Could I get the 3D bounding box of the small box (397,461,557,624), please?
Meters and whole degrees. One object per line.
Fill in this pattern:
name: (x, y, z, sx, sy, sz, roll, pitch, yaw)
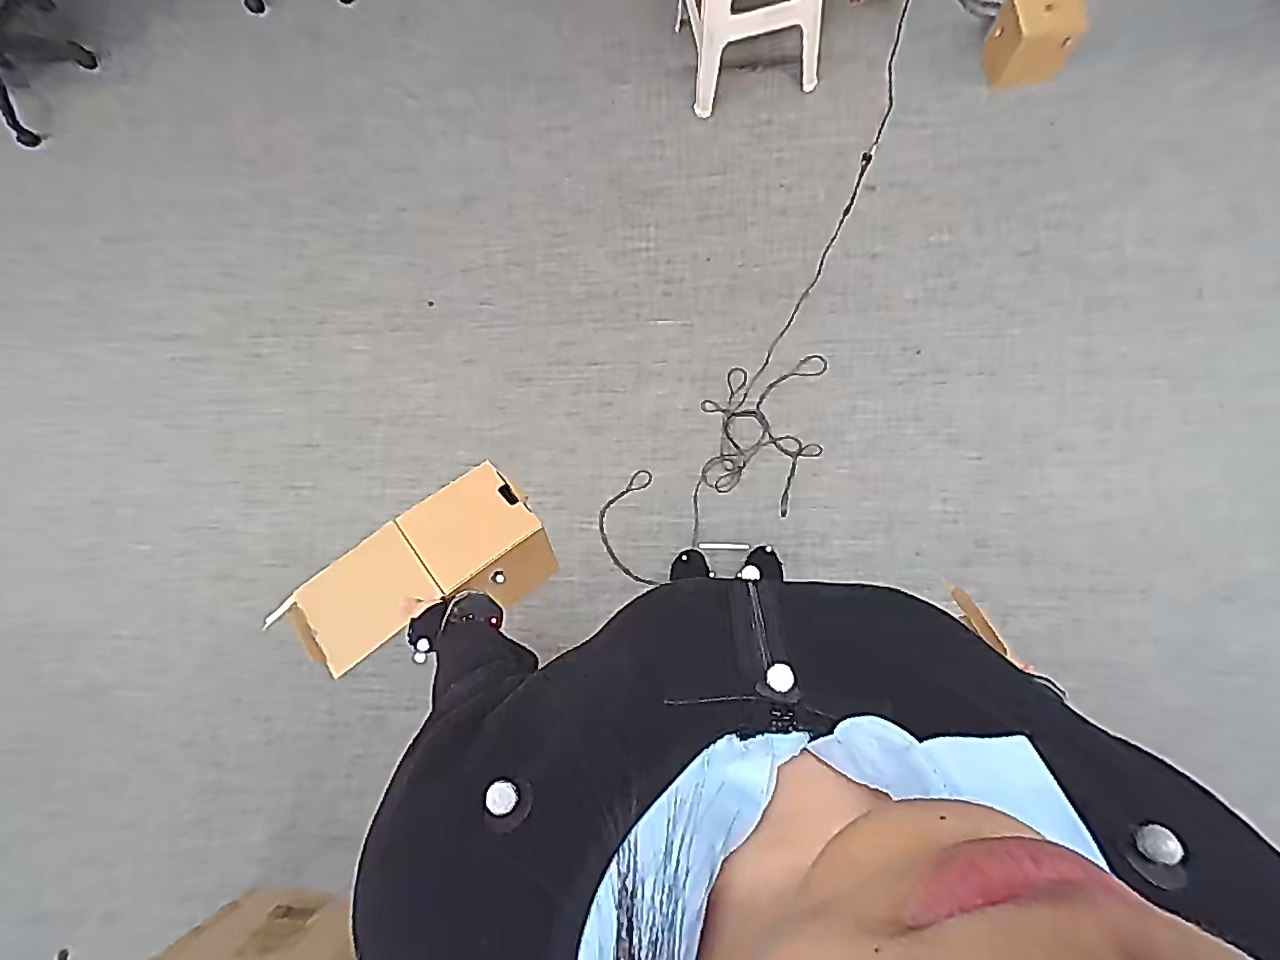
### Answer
small box: (-0.260, 0.109, 0.899, 0.179, 0.176, 0.168, -36, 63, -19)
